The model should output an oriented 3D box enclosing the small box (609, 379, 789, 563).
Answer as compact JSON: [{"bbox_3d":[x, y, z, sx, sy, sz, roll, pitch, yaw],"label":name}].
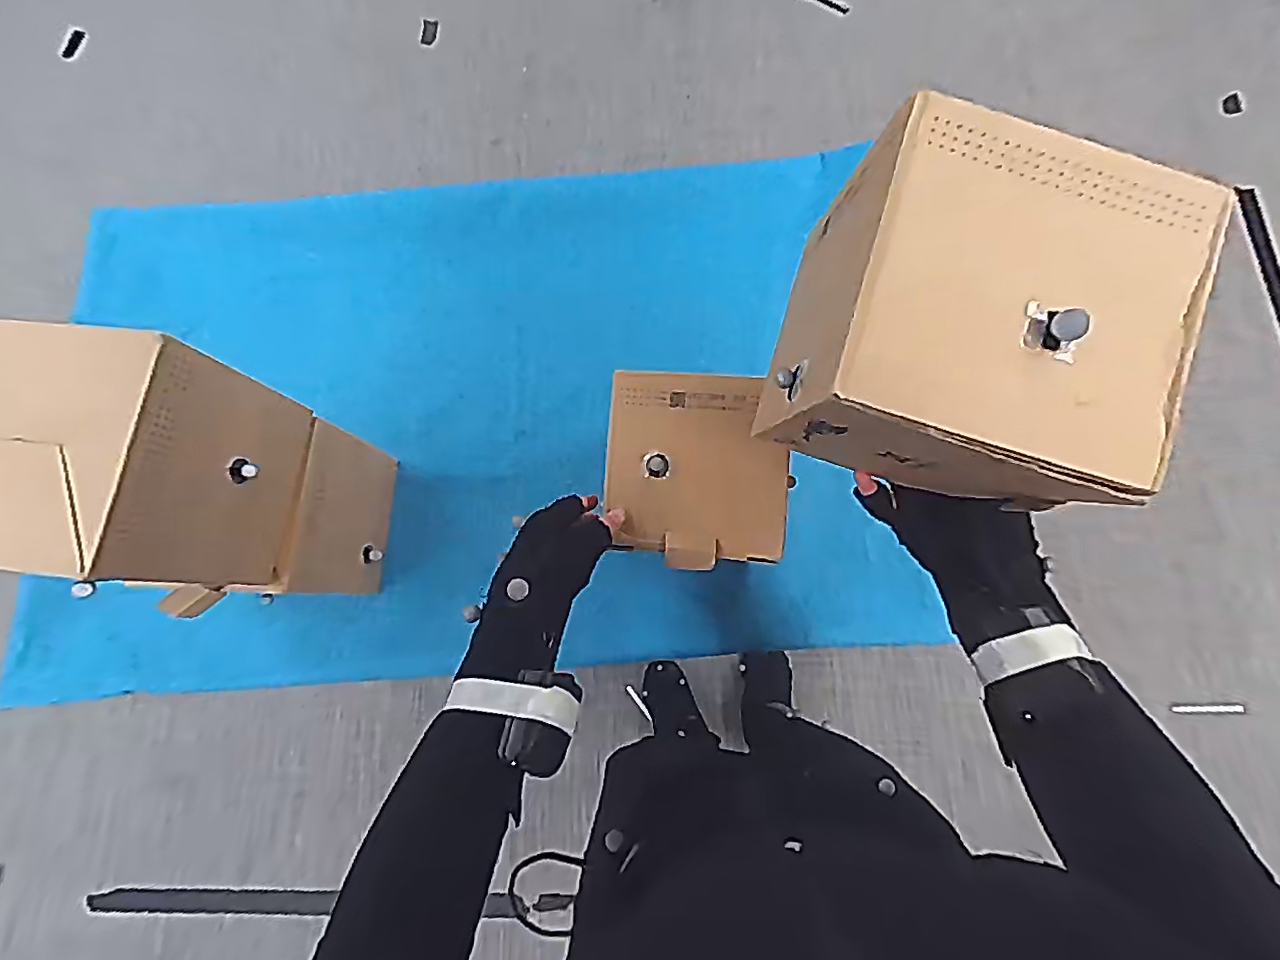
[{"bbox_3d":[0.061,-0.004,0.580,0.168,0.179,0.176,4,85,4],"label":"small box"}]

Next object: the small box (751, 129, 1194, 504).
[{"bbox_3d":[0.196,-0.087,0.357,0.179,0.168,0.176,16,87,-2],"label":"small box"}]

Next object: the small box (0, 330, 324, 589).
[{"bbox_3d":[-0.412,-0.006,0.456,0.168,0.176,0.179,5,79,5],"label":"small box"}]

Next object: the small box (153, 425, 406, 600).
[{"bbox_3d":[-0.394,0.043,0.613,0.168,0.176,0.179,2,77,4],"label":"small box"}]
